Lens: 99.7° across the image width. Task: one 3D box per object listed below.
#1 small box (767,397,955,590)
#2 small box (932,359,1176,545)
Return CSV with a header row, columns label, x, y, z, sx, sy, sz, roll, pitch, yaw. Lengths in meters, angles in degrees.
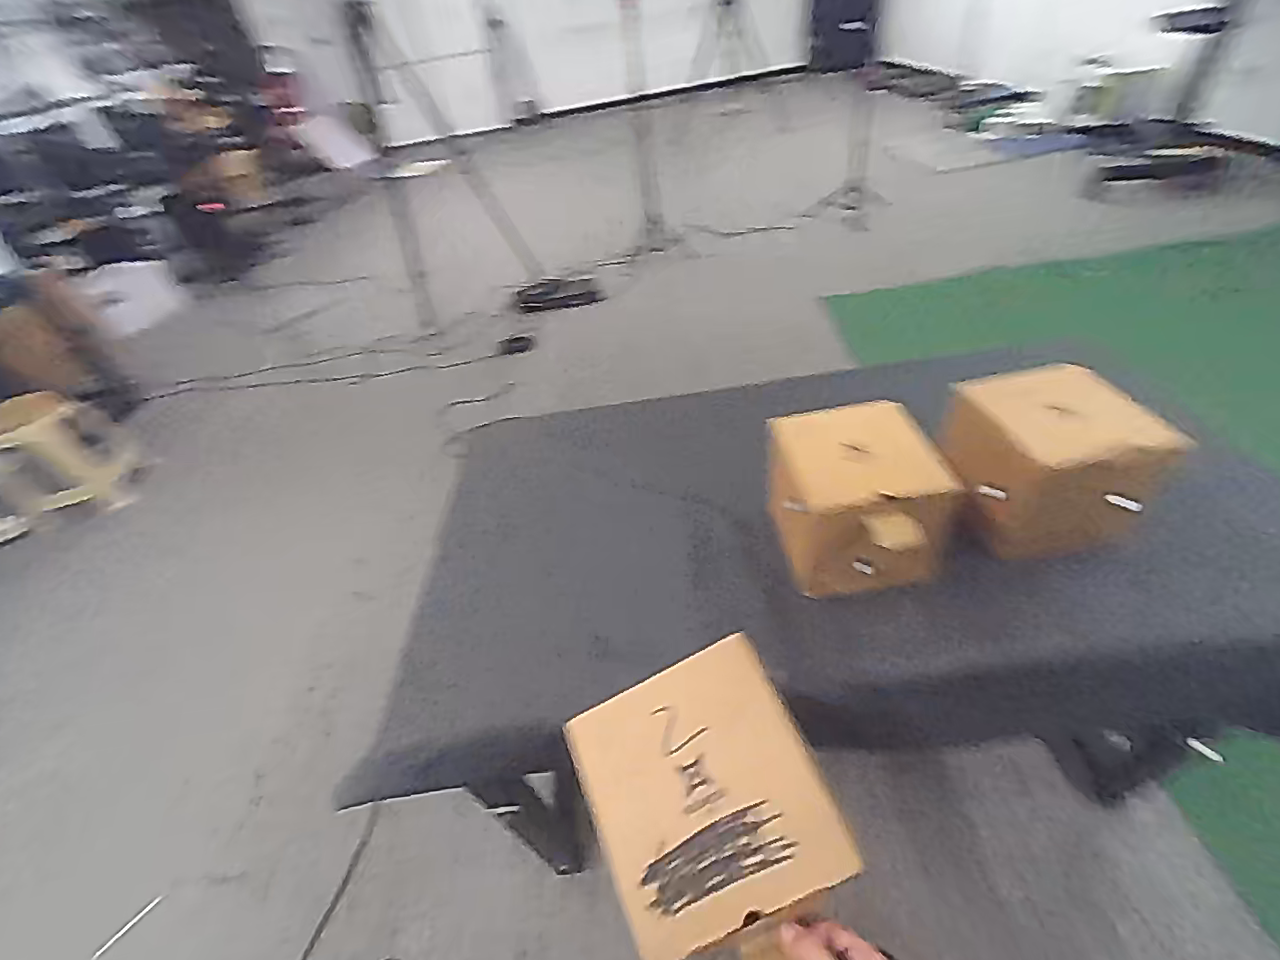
label,x,y,z,sx,sy,sz,roll,pitch,yaw
small box,0.269,0.017,0.711,0.168,0.176,0.179,-10,43,1
small box,0.516,-0.031,0.713,0.168,0.176,0.179,-11,41,-2
